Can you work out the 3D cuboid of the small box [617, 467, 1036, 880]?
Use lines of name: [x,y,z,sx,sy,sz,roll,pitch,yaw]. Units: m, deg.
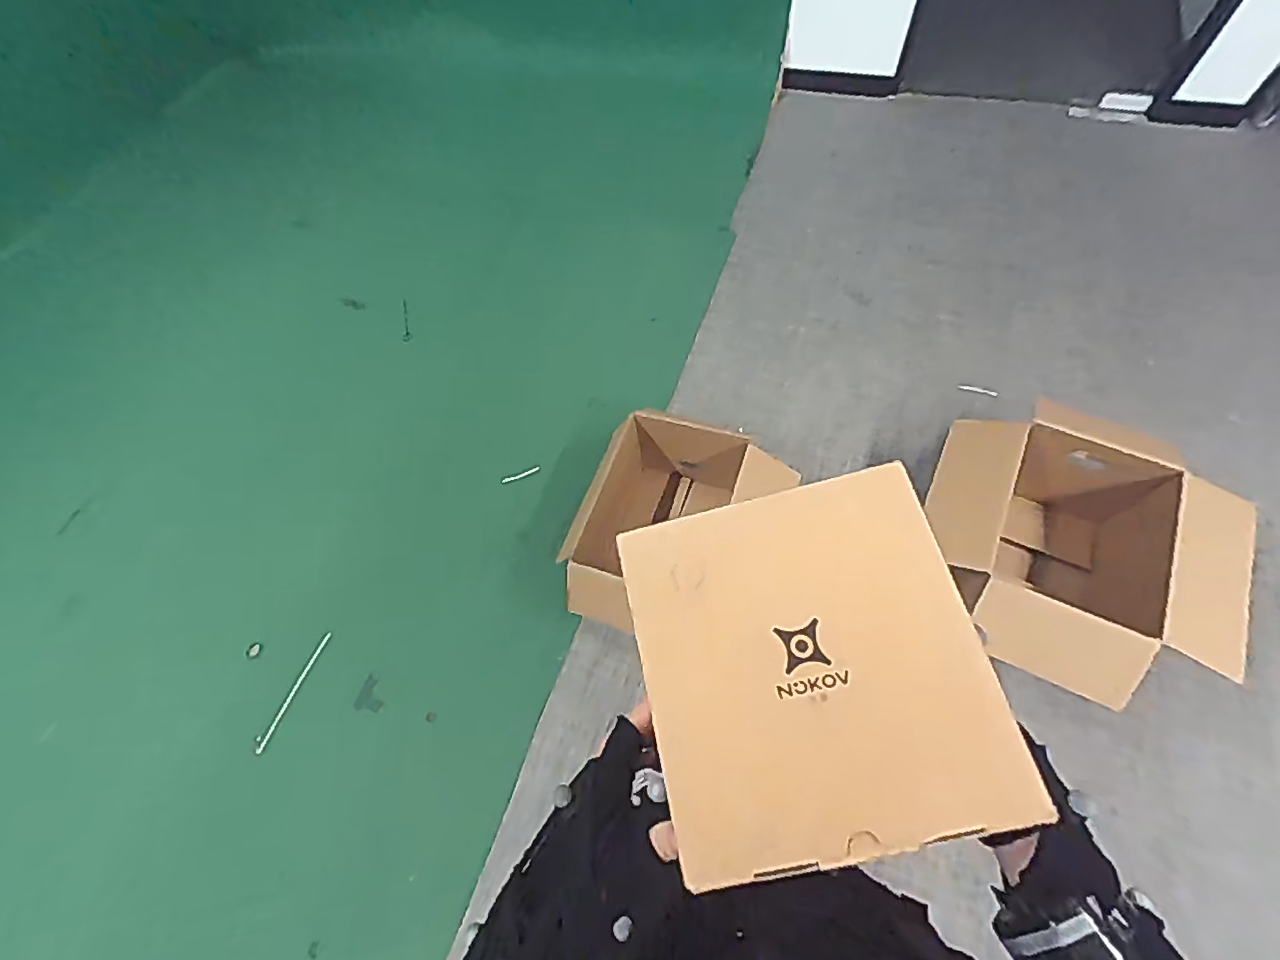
small box: [0.094,0.117,0.351,0.168,0.176,0.179,-16,68,5]
